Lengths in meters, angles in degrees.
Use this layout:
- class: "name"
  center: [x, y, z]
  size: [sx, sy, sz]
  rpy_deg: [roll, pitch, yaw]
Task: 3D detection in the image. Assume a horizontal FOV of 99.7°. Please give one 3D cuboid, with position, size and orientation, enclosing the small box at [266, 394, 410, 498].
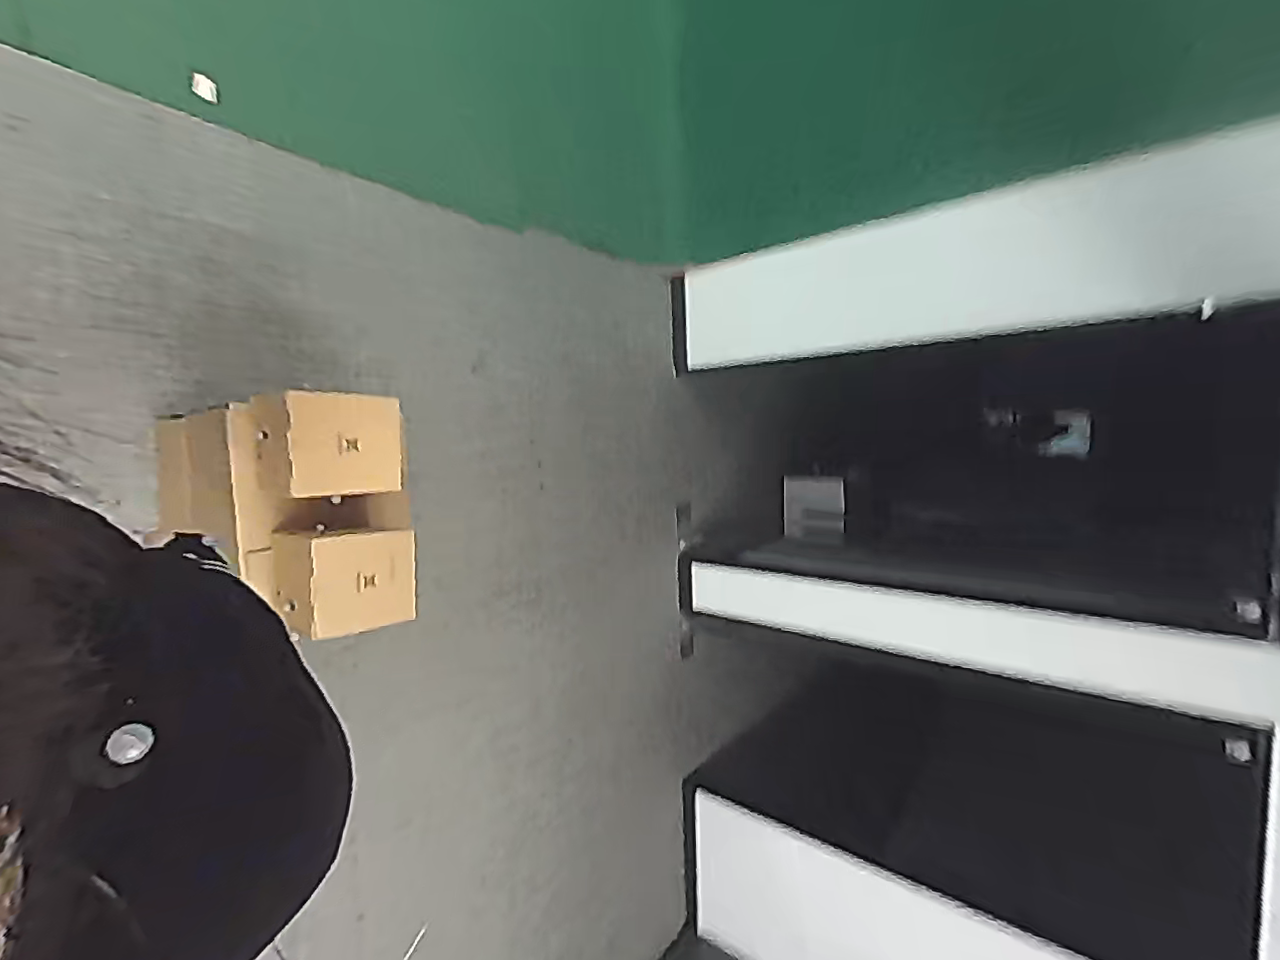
- class: "small box"
  center: [-0.528, -0.061, 0.949]
  size: [0.179, 0.176, 0.168]
  rpy_deg: [-5, 97, -49]

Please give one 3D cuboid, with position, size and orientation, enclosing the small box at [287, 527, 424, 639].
- class: "small box"
  center: [-0.513, 0.174, 0.973]
  size: [0.179, 0.176, 0.168]
  rpy_deg: [-1, 91, -52]
